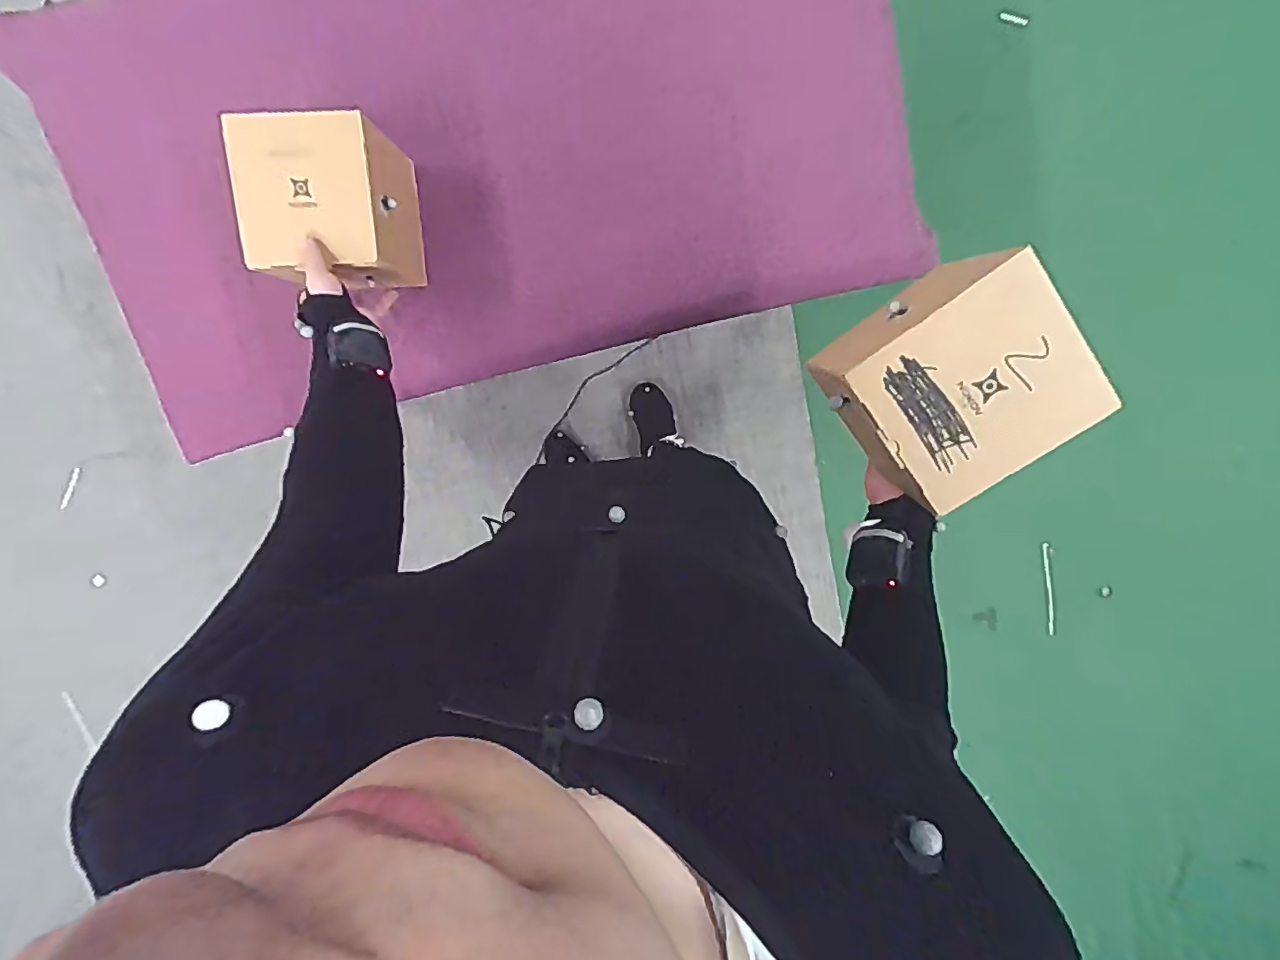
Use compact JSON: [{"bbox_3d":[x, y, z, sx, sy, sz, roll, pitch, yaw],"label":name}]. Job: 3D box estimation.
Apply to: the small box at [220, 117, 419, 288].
[{"bbox_3d":[-0.415,-0.361,0.735,0.168,0.176,0.179,-2,101,-2],"label":"small box"}]
